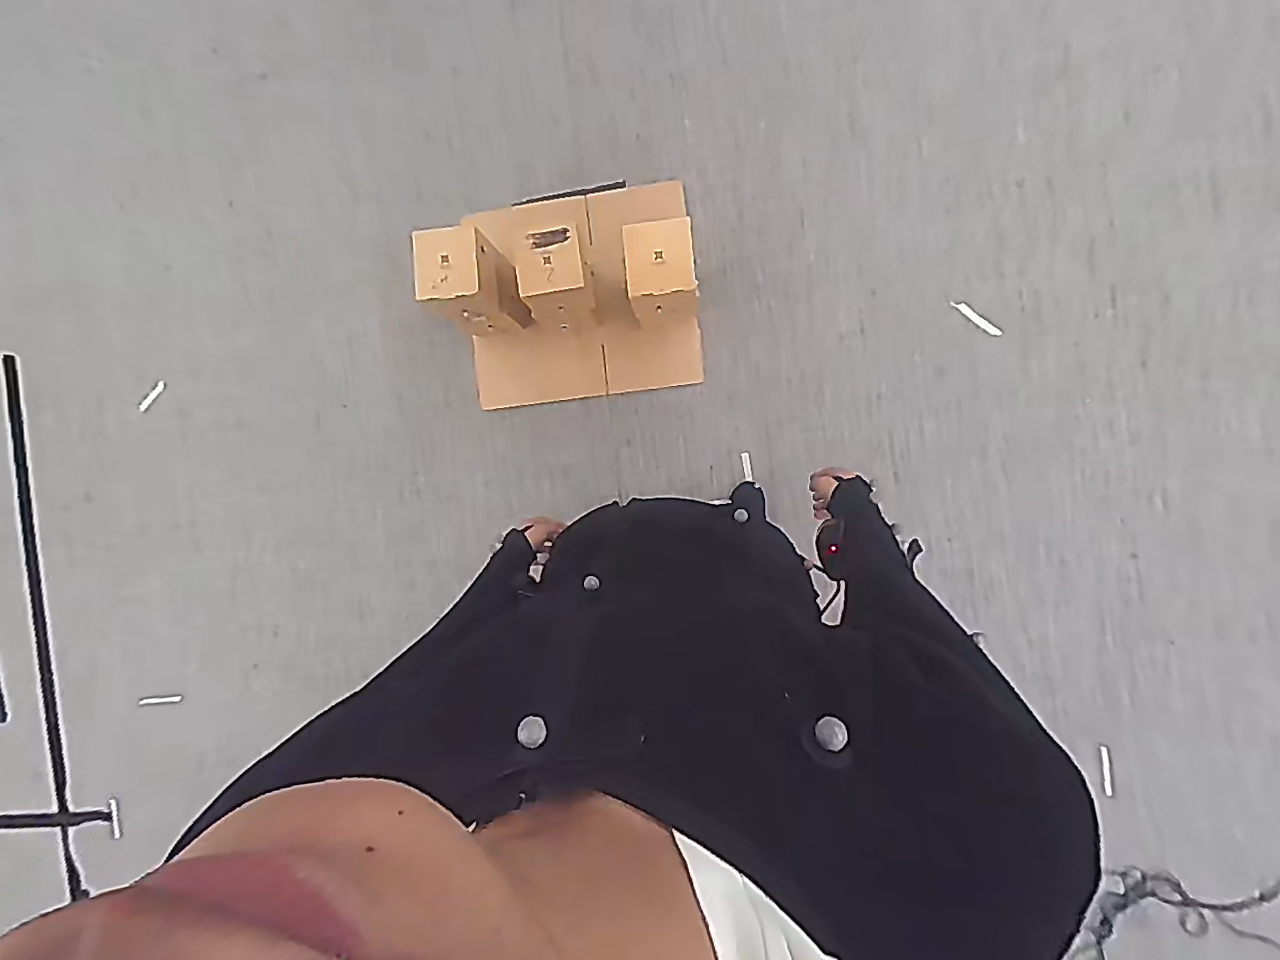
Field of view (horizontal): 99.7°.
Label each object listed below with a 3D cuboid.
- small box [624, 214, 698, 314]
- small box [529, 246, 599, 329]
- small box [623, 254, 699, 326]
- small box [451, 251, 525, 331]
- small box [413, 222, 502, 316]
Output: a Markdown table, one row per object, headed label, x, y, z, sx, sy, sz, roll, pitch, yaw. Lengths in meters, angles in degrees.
| label | x | y | z | sx | sy | sz | roll | pitch | yaw |
| --- | --- | --- | --- | --- | --- | --- | --- | --- | --- |
| small box | 0.054 | -0.535 | 1.359 | 0.168 | 0.176 | 0.179 | -5 | 91 | 5 |
| small box | -0.213 | -0.545 | 1.549 | 0.168 | 0.176 | 0.179 | -3 | 91 | 5 |
| small box | 0.065 | -0.550 | 1.521 | 0.179 | 0.176 | 0.168 | -15 | 90 | 6 |
| small box | -0.442 | -0.540 | 1.572 | 0.168 | 0.176 | 0.179 | -4 | 91 | 6 |
| small box | -0.470 | -0.543 | 1.409 | 0.168 | 0.176 | 0.179 | -3 | 91 | 7 |
